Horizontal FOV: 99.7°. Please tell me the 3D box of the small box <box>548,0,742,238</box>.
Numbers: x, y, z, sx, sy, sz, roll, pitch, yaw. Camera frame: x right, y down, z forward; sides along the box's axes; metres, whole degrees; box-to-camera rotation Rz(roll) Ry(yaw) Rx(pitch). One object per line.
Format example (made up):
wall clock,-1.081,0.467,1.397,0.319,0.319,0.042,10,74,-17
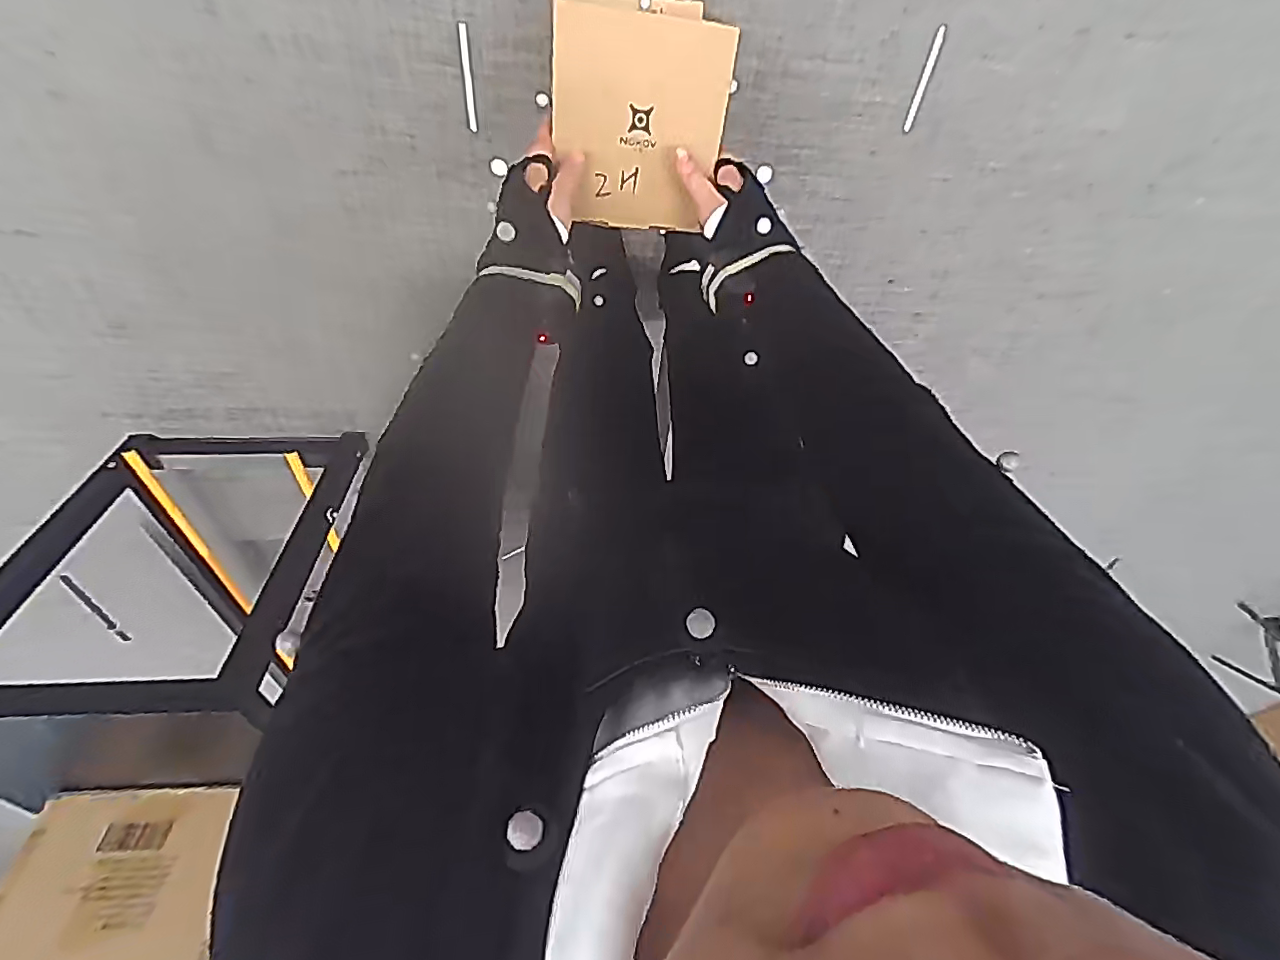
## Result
small box,-0.011,-0.378,0.570,0.168,0.176,0.179,1,130,-10
